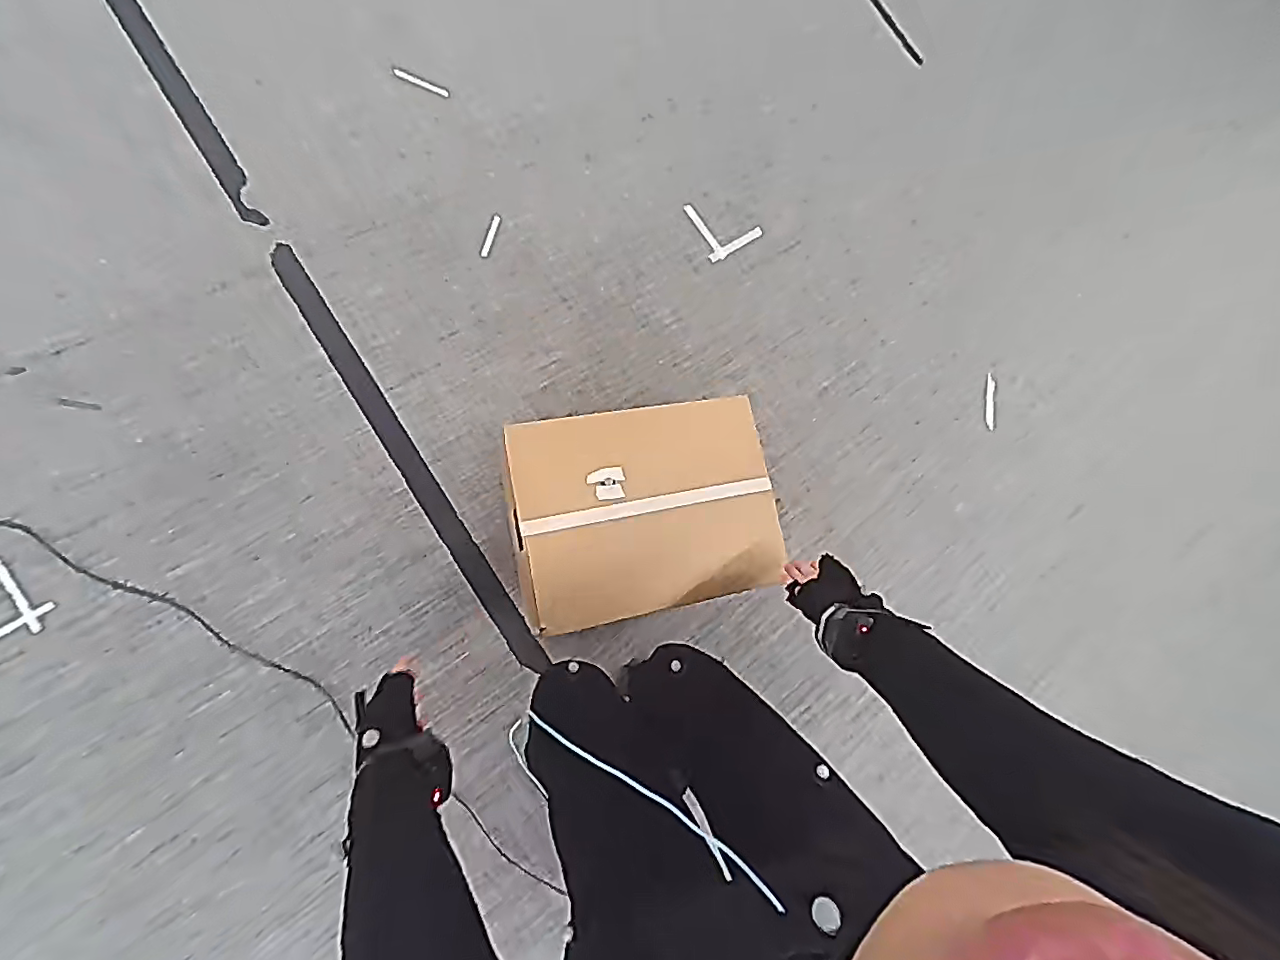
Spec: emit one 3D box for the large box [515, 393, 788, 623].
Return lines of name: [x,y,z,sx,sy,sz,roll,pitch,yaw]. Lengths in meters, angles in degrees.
large box: [-0.004,0.059,1.008,0.408,0.320,0.320,-10,79,-15]
